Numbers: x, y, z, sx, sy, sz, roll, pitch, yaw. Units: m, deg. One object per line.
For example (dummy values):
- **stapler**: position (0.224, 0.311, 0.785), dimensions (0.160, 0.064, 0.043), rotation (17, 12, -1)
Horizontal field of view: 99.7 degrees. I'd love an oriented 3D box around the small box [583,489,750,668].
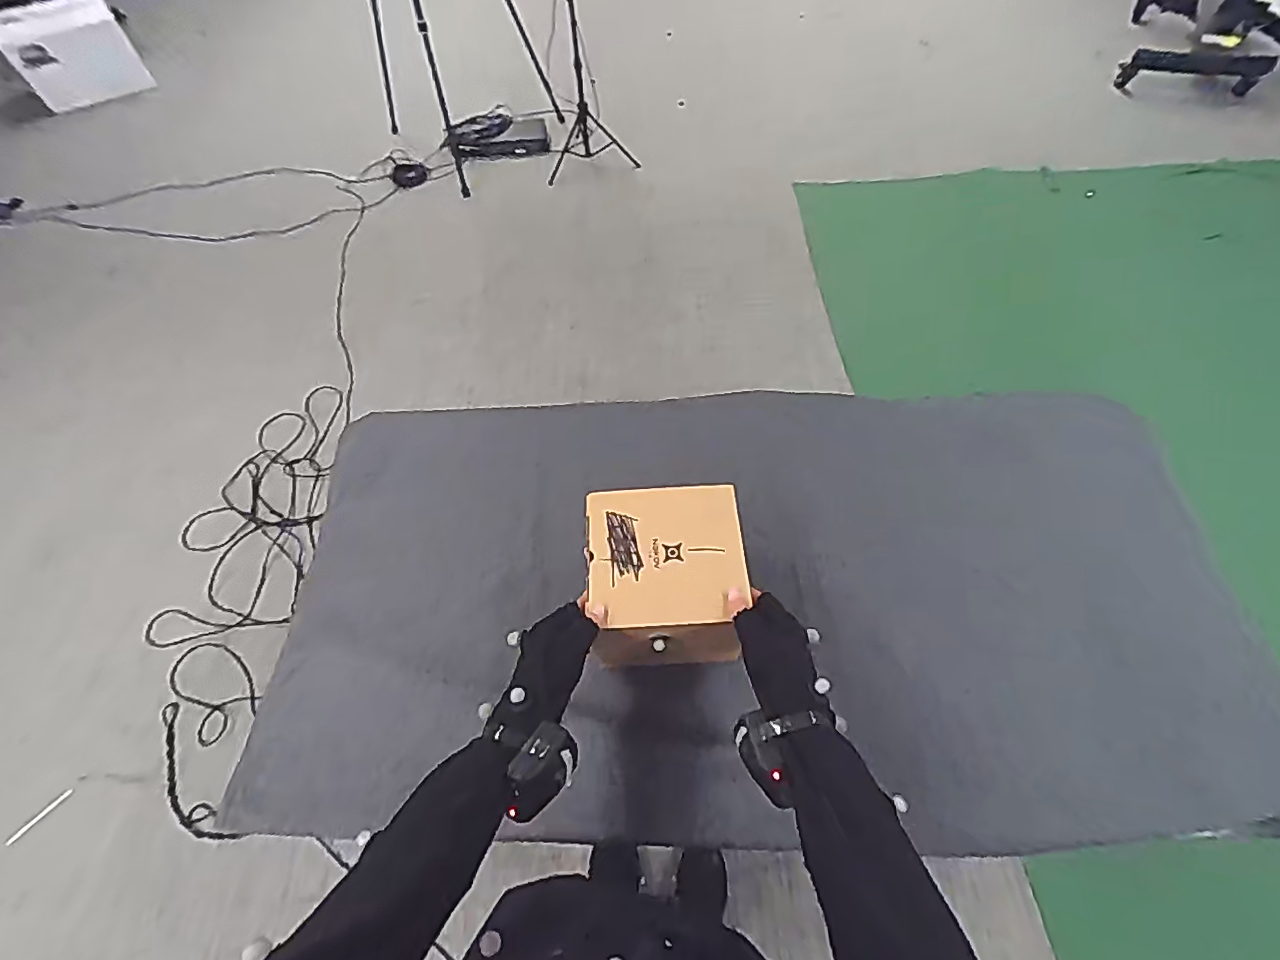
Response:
- **small box**: position (0.028, 0.127, 0.664), dimensions (0.179, 0.176, 0.168), rotation (-3, 57, 0)
